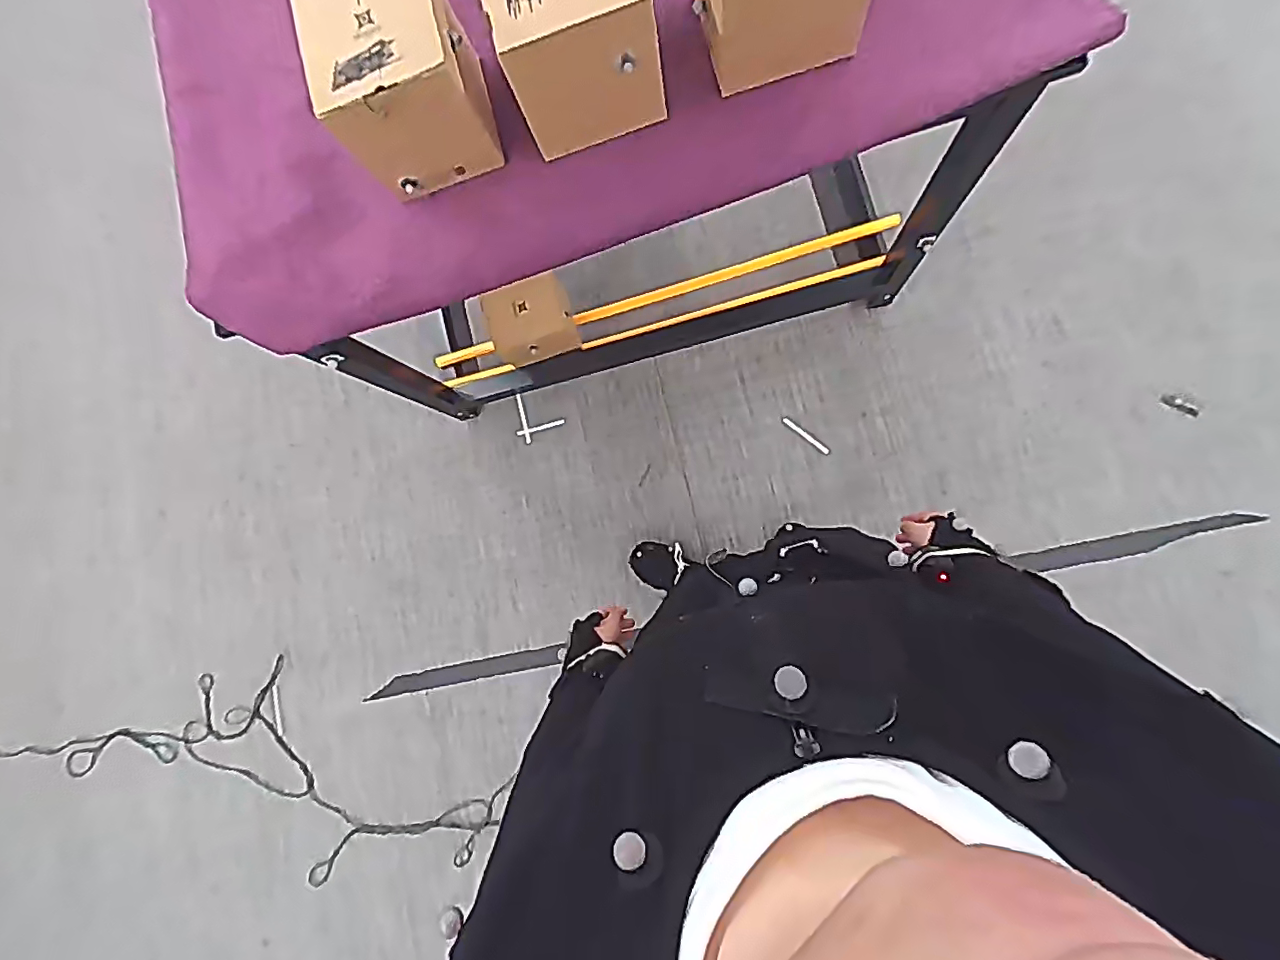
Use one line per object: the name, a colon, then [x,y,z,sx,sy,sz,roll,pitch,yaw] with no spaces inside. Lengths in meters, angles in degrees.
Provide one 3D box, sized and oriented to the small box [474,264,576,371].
small box: [-0.264,-0.381,1.296,0.179,0.176,0.168,-19,85,6]
